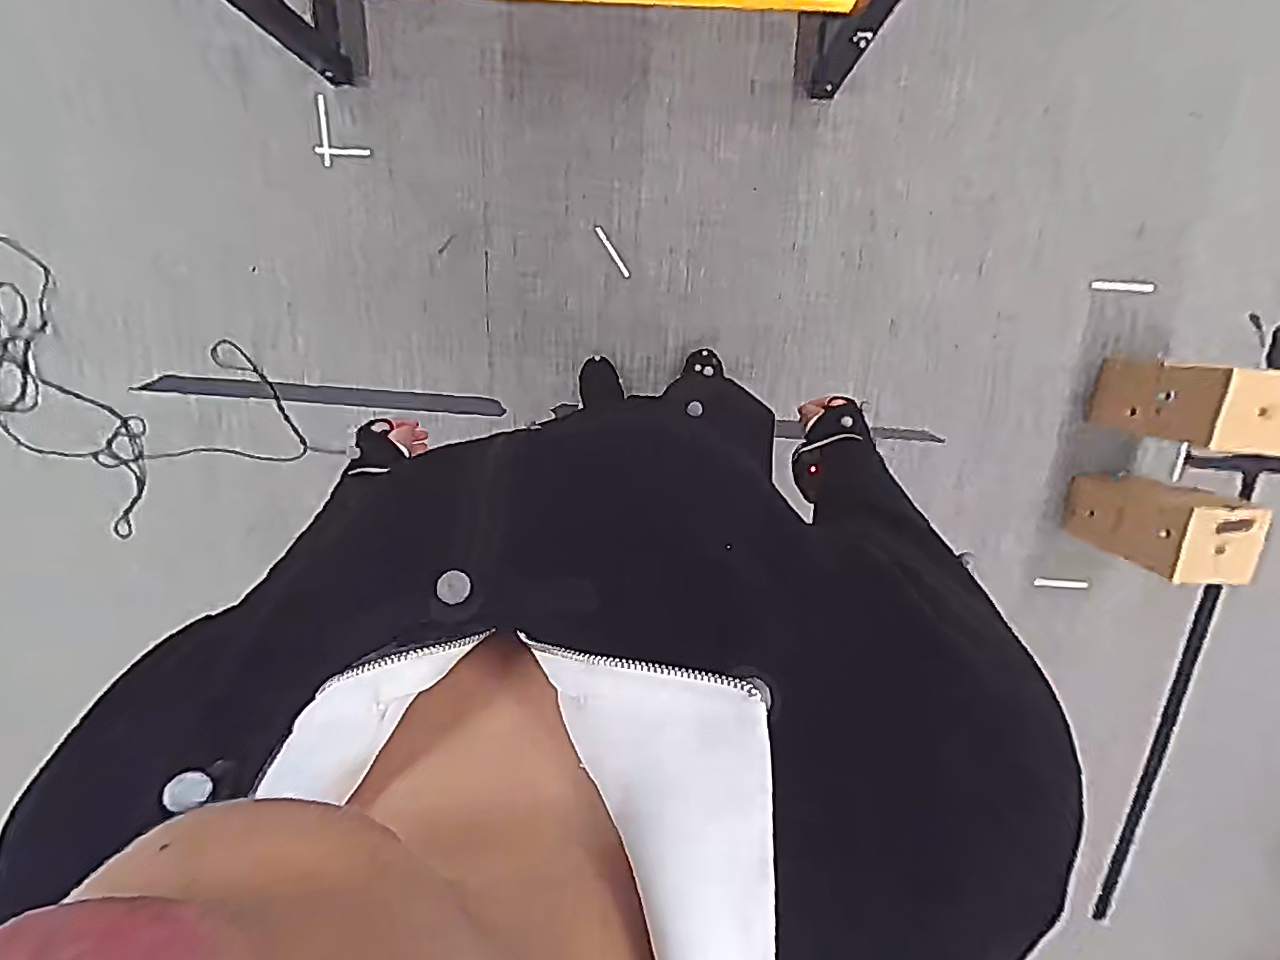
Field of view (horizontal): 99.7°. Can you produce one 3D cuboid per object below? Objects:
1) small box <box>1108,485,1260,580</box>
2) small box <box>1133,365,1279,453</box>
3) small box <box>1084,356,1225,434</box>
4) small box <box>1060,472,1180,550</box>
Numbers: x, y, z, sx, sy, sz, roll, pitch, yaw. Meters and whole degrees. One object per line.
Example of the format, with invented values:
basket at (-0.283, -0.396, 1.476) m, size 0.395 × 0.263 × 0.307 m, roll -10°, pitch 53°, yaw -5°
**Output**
small box at (1.243, 0.115, 1.252) m, size 0.168 × 0.176 × 0.179 m, roll 1°, pitch 105°, yaw 2°
small box at (1.252, -0.161, 1.180) m, size 0.179 × 0.176 × 0.168 m, roll 4°, pitch 103°, yaw 2°
small box at (1.254, -0.209, 1.336) m, size 0.168 × 0.176 × 0.179 m, roll 5°, pitch 104°, yaw 0°
small box at (1.252, 0.079, 1.413) m, size 0.179 × 0.176 × 0.168 m, roll 1°, pitch 105°, yaw 2°
